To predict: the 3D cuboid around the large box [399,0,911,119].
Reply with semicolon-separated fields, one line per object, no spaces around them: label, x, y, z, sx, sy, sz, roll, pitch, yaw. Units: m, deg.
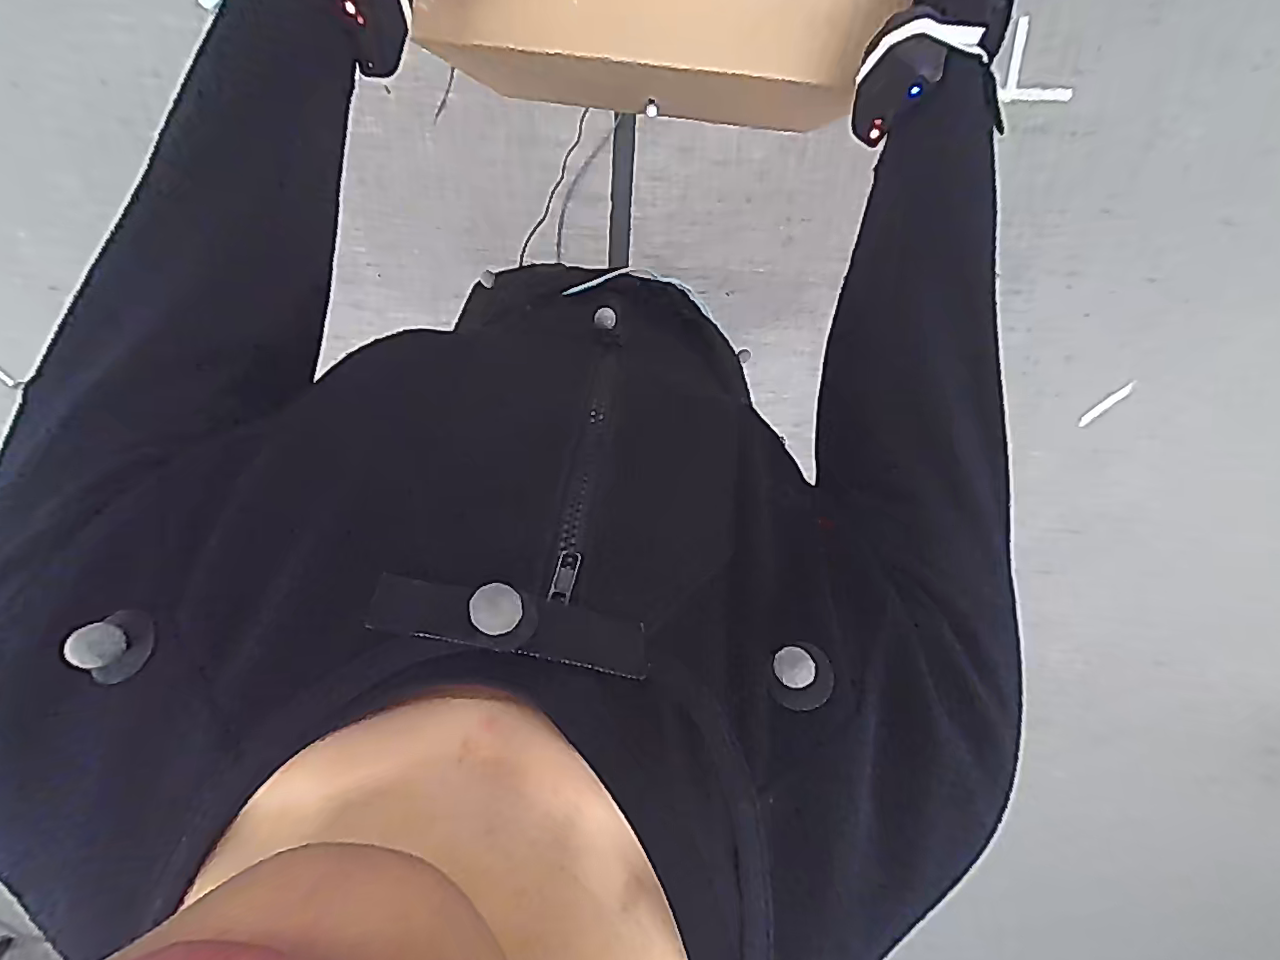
large box;0.028;-0.545;0.495;0.408;0.320;0.320;7;117;0
